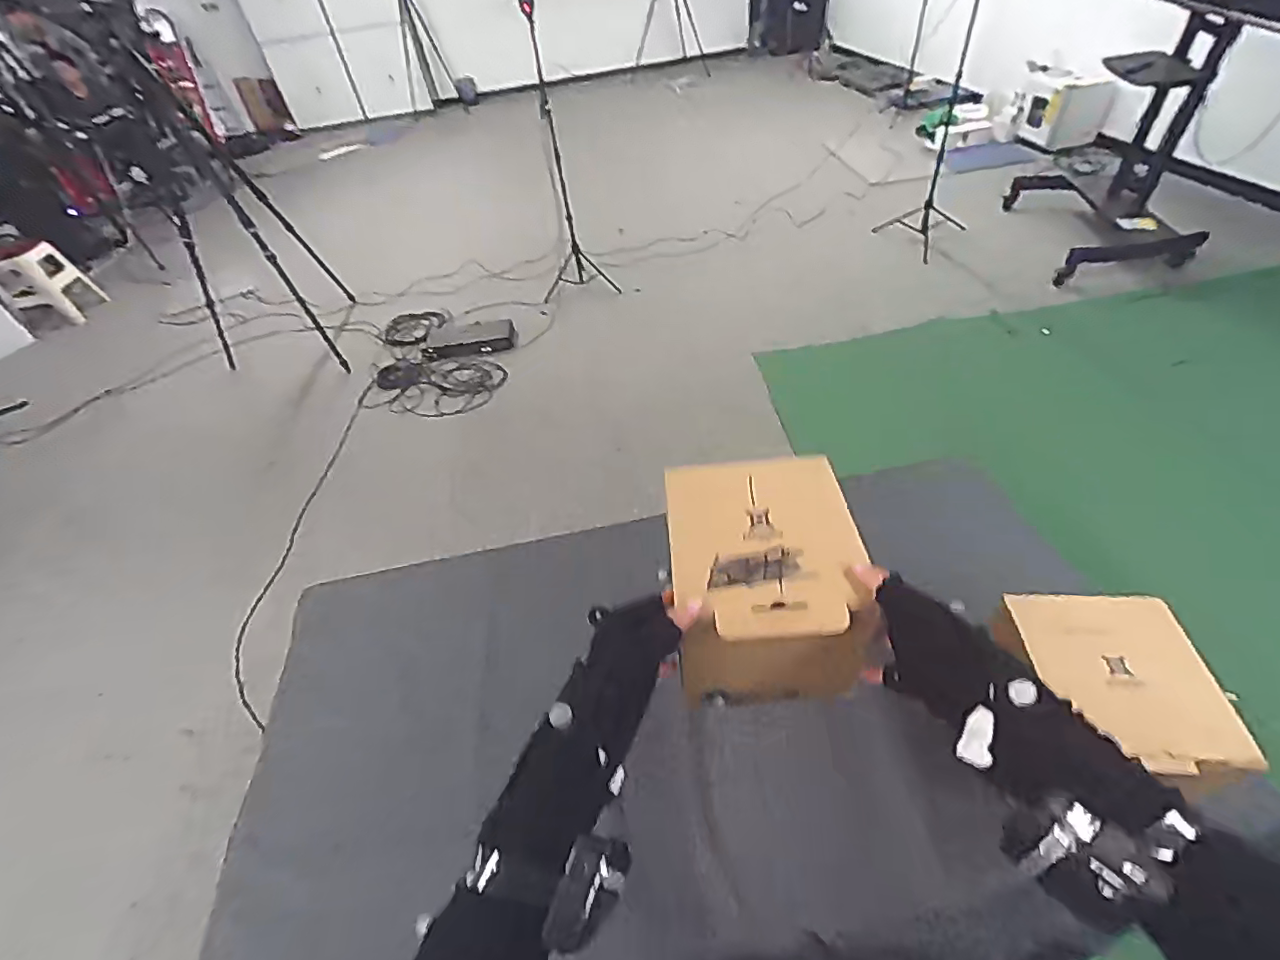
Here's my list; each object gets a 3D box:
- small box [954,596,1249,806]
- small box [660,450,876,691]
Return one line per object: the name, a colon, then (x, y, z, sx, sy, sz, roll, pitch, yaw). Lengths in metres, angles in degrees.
small box: (0.491, 0.252, 0.616, 0.168, 0.176, 0.179, -1, 45, 7)
small box: (0.111, 0.095, 0.536, 0.168, 0.176, 0.179, -5, 43, 3)
